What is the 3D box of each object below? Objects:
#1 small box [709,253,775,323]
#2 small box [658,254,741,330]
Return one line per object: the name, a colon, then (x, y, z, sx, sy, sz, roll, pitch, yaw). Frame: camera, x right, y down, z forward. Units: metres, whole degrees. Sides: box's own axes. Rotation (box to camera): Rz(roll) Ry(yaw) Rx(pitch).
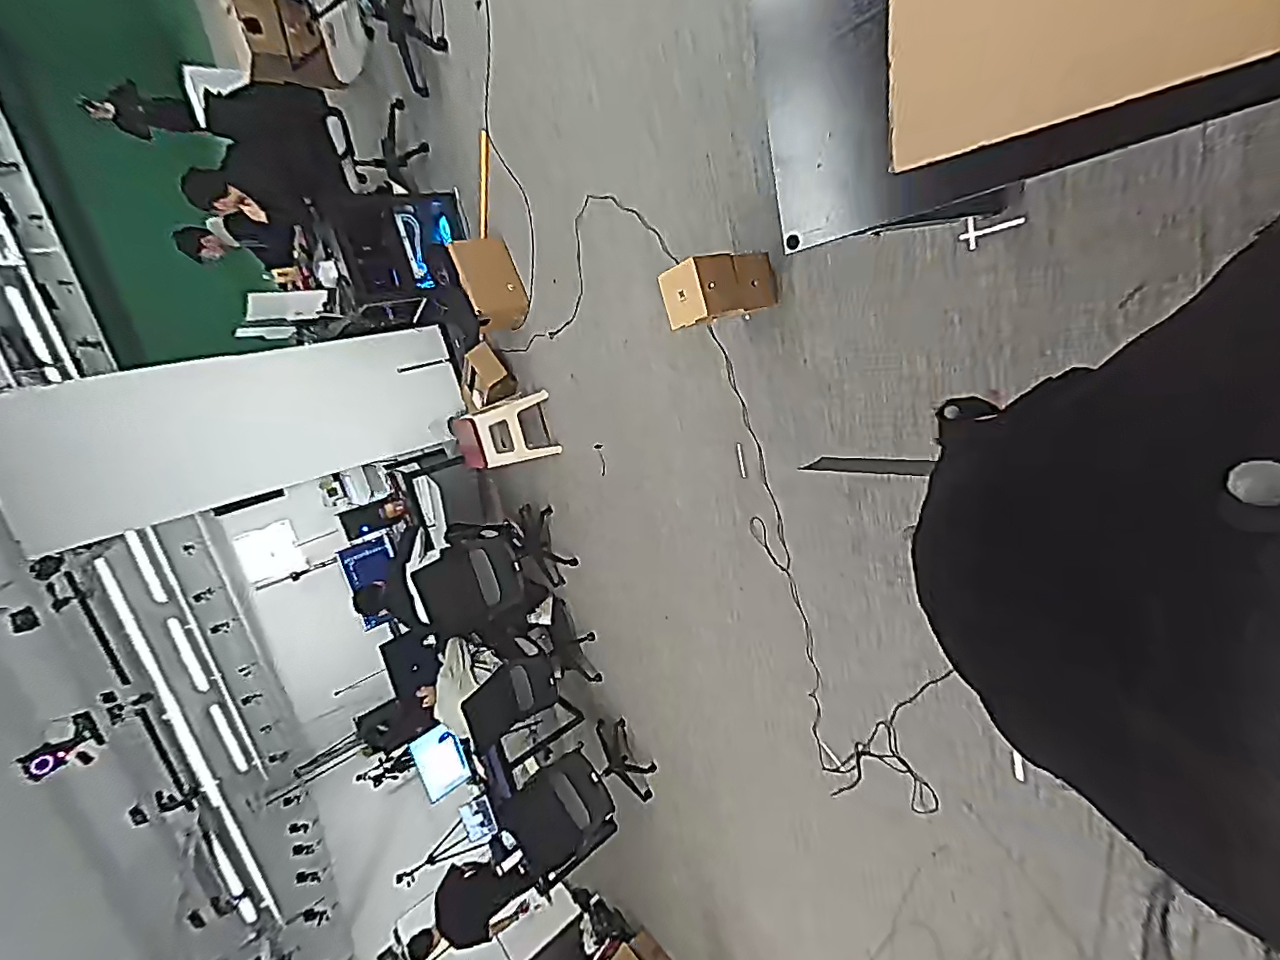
small box: (0.316, -0.629, 1.765, 0.168, 0.176, 0.179, 0, 109, 54)
small box: (0.189, -0.583, 1.673, 0.168, 0.176, 0.179, -6, 103, 54)
